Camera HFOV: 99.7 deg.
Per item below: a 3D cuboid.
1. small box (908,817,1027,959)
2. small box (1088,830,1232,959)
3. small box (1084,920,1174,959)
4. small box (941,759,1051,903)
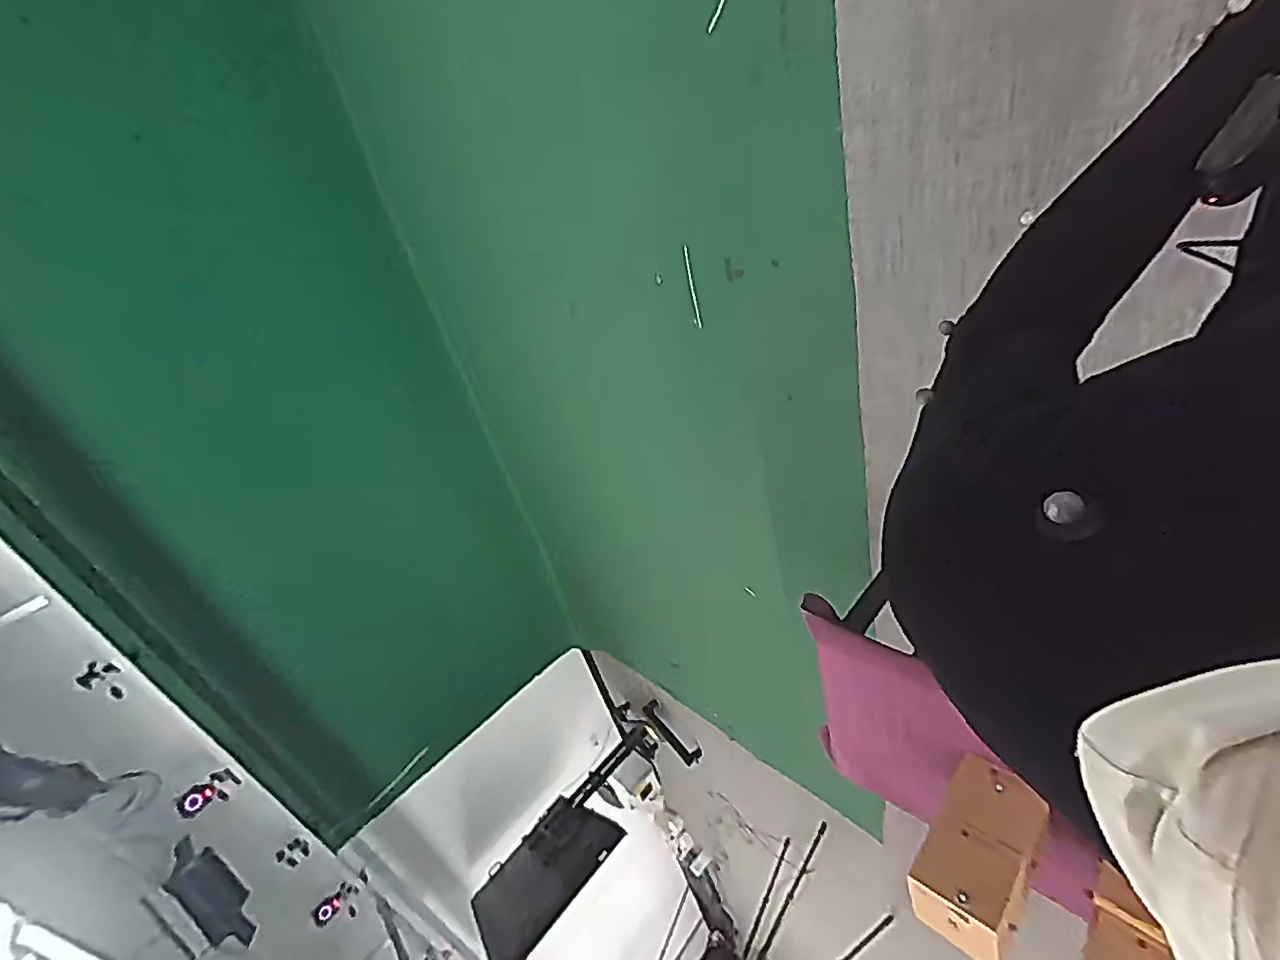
[{"bbox_3d":[0.683,0.859,1.123,0.168,0.176,0.179,10,129,47],"label":"small box"},{"bbox_3d":[0.977,0.820,1.018,0.168,0.176,0.179,13,129,47],"label":"small box"},{"bbox_3d":[0.876,0.929,0.942,0.168,0.176,0.179,17,134,44],"label":"small box"},{"bbox_3d":[0.796,0.775,1.207,0.168,0.176,0.179,11,129,47],"label":"small box"}]
